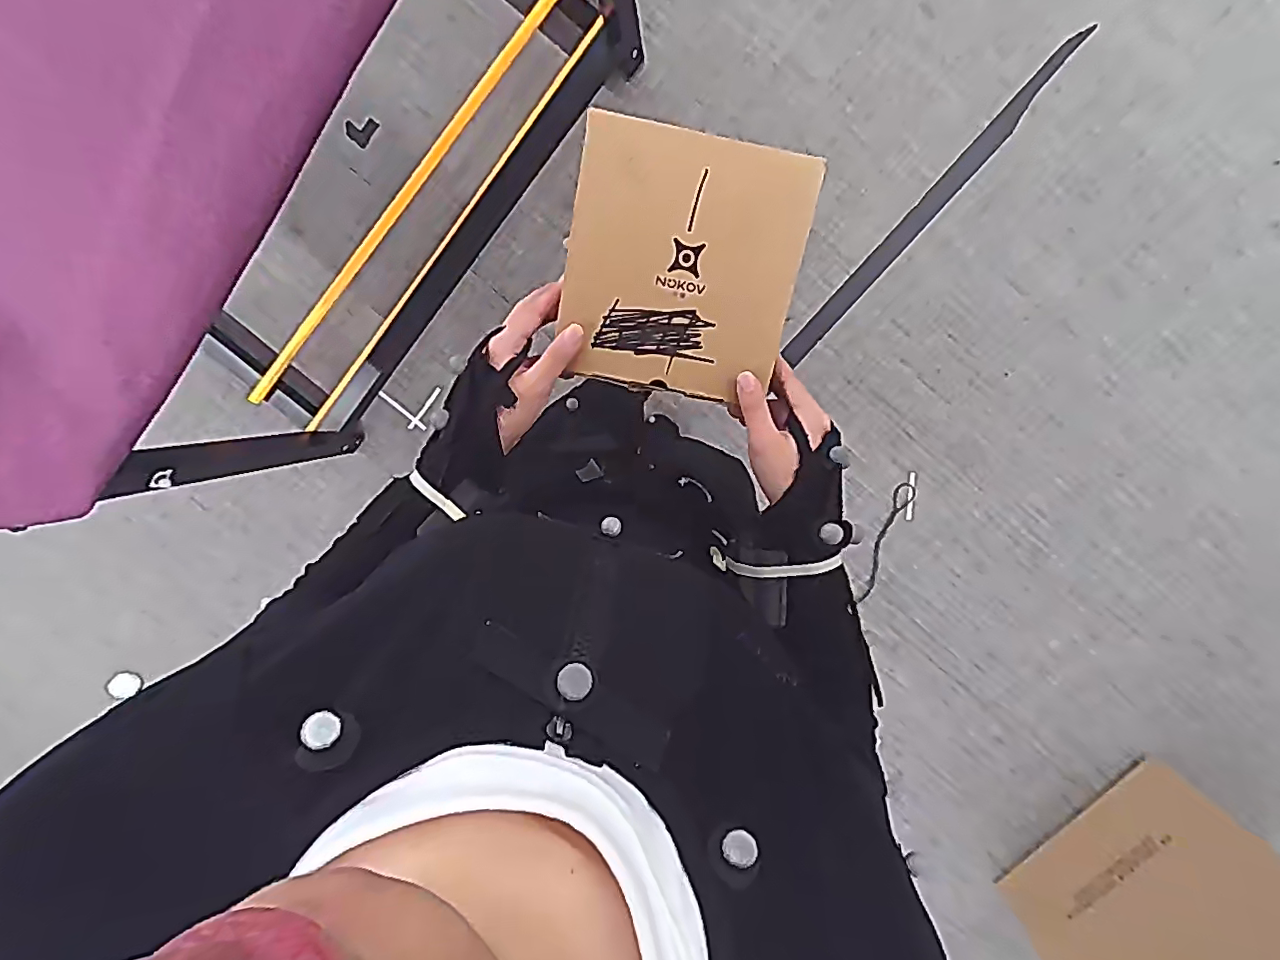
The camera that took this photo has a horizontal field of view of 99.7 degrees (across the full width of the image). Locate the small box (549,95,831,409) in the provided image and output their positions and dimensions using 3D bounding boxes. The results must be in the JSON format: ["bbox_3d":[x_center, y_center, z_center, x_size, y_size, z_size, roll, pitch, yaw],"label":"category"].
[{"bbox_3d":[0.031,-0.172,0.450,0.168,0.176,0.179,11,106,-3],"label":"small box"}]
